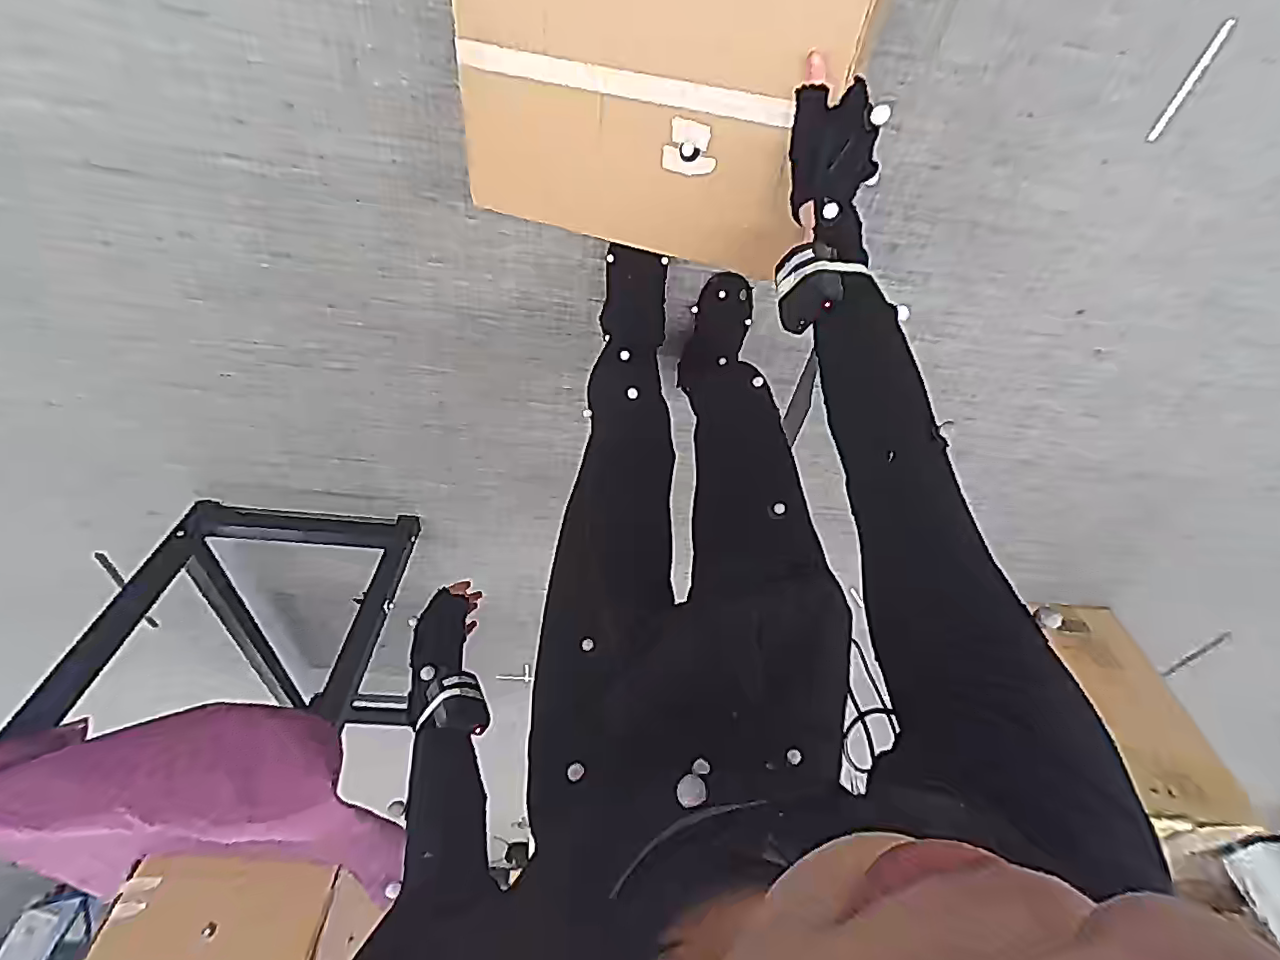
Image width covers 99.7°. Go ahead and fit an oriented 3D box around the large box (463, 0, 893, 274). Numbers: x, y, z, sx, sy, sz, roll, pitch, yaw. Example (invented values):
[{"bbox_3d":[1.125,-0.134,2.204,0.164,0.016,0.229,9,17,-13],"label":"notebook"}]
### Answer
[{"bbox_3d":[0.053,-0.482,0.635,0.408,0.320,0.320,18,134,11],"label":"large box"}]
